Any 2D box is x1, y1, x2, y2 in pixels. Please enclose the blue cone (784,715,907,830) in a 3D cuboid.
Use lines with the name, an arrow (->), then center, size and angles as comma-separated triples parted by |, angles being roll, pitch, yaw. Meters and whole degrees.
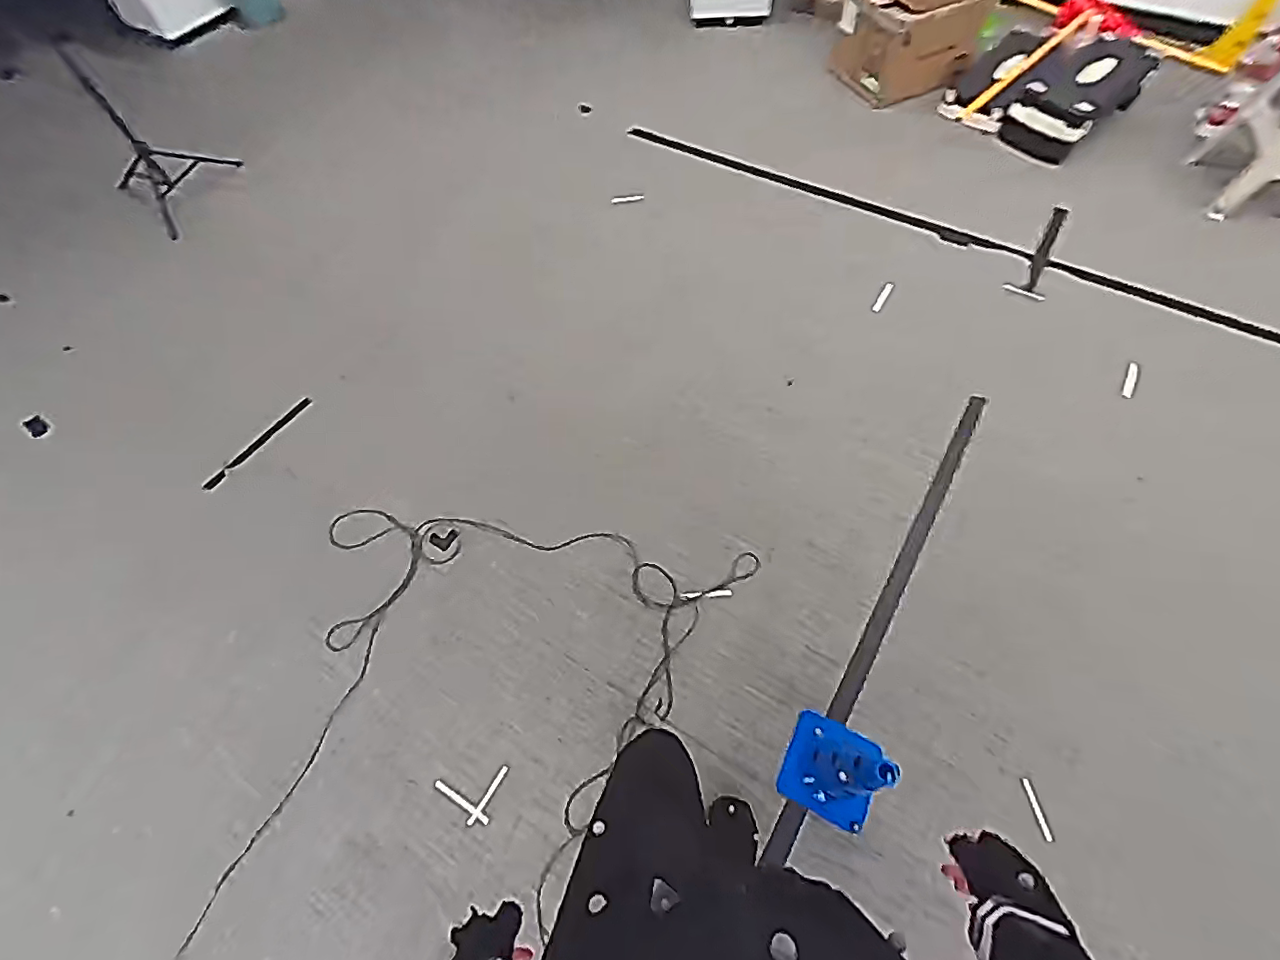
blue cone -> 0.436, 0.590, 1.094 | 0.192, 0.380, 0.193 | 26, 66, 14
